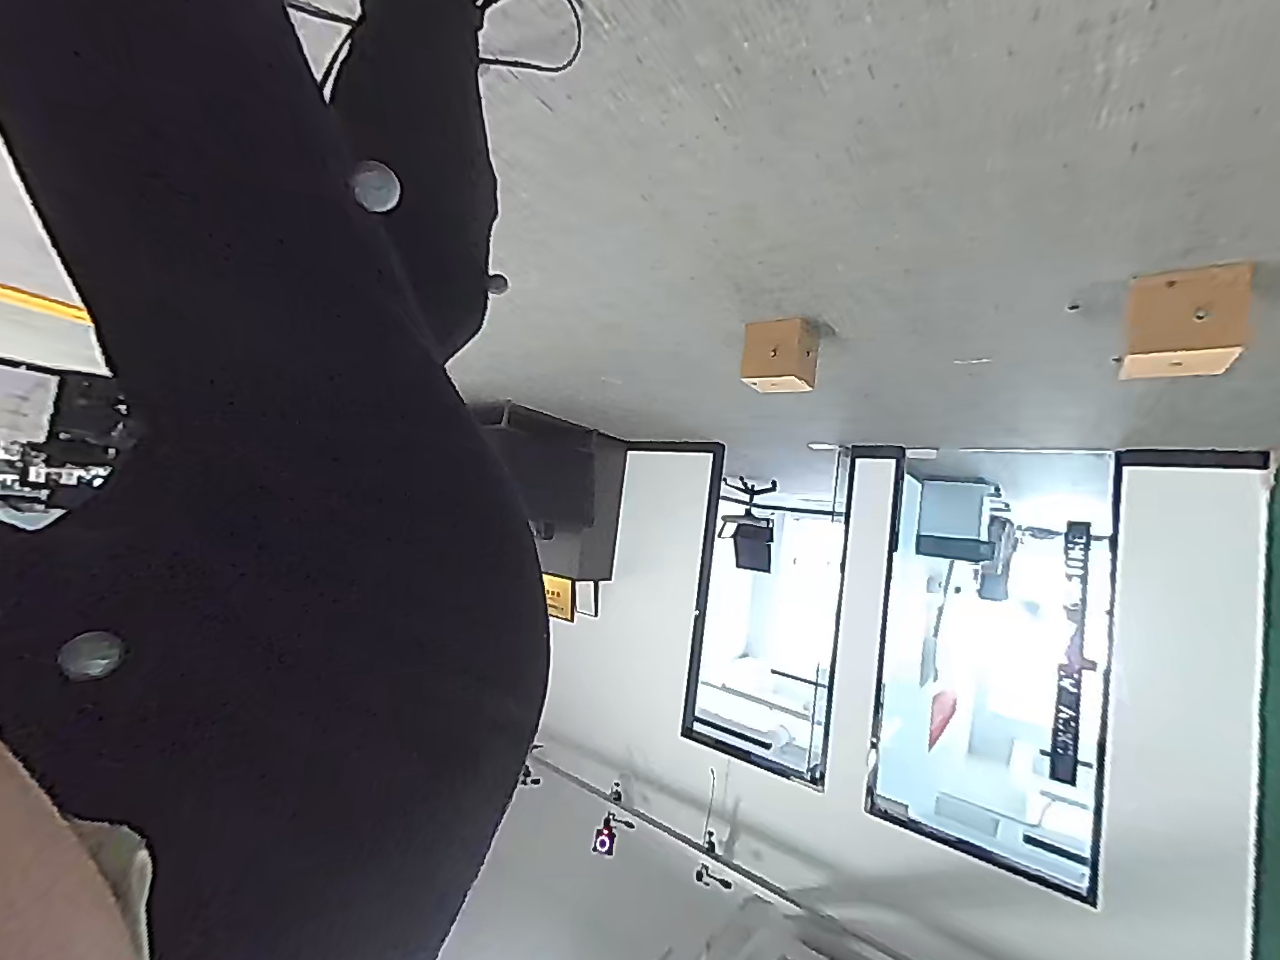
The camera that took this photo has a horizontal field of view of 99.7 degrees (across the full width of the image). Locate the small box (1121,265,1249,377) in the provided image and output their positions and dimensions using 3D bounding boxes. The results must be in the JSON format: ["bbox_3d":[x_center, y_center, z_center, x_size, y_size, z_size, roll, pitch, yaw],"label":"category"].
[{"bbox_3d":[1.104,-0.323,1.109,0.168,0.176,0.179,2,175,38],"label":"small box"}]

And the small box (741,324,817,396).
[{"bbox_3d":[0.419,-0.356,1.614,0.179,0.176,0.168,2,174,37],"label":"small box"}]
